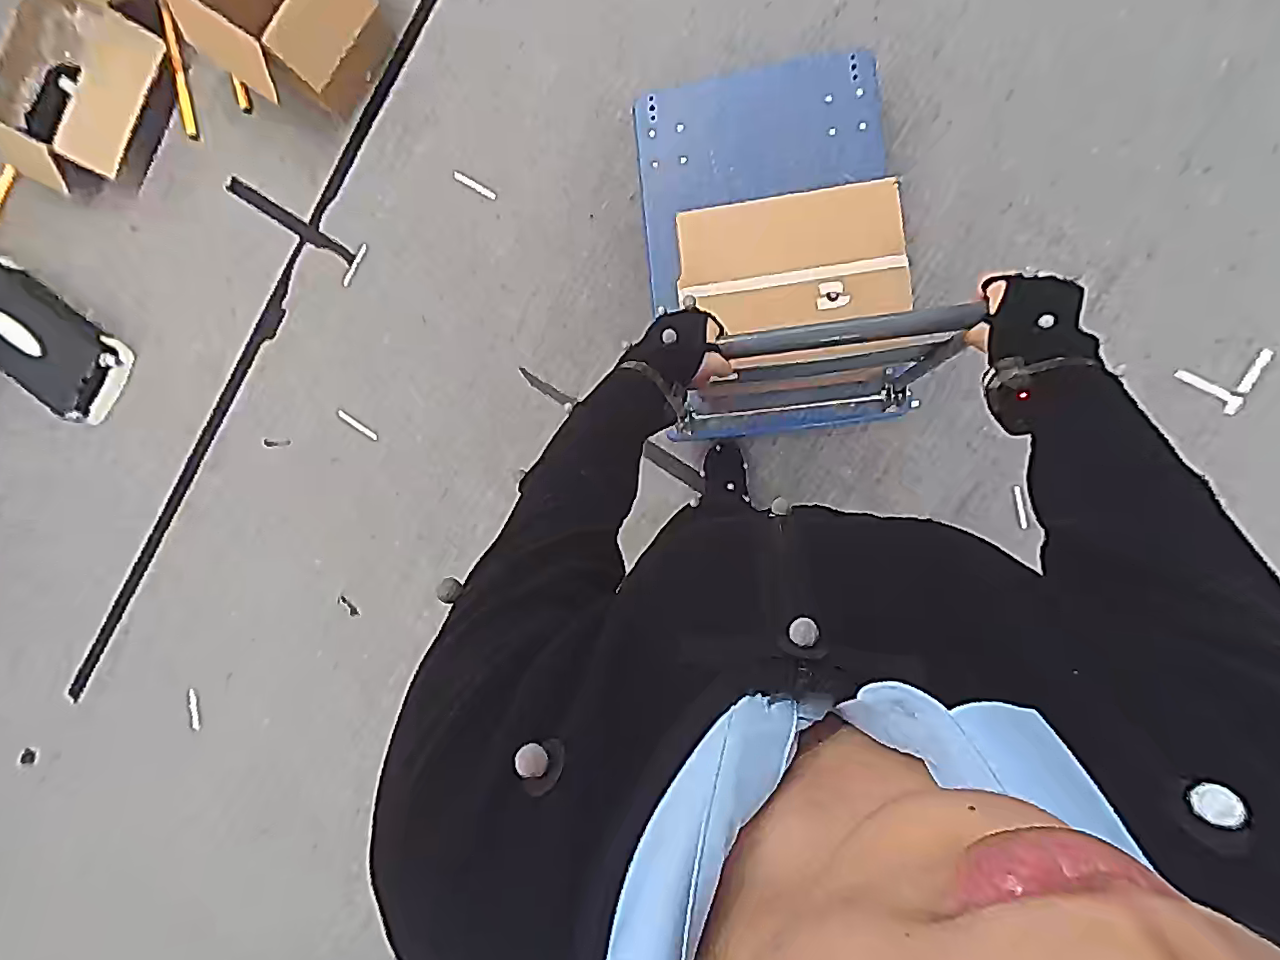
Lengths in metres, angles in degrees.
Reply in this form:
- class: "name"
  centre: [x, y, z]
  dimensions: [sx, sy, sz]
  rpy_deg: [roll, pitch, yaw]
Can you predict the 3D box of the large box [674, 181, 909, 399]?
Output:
- class: "large box"
  centre: [0.294, -0.369, 1.150]
  dimensions: [0.408, 0.320, 0.320]
  rpy_deg: [-6, 90, 7]
